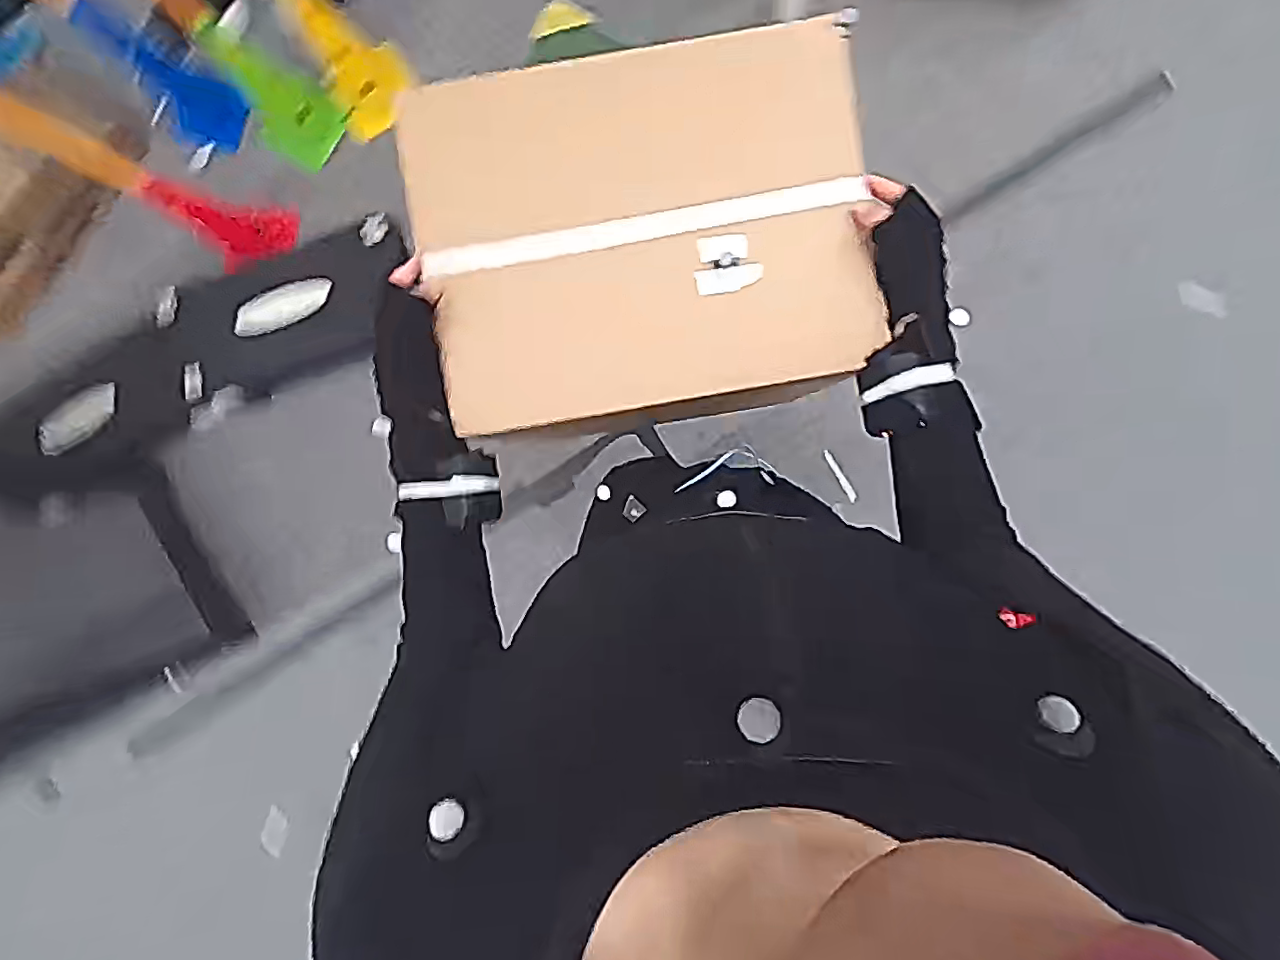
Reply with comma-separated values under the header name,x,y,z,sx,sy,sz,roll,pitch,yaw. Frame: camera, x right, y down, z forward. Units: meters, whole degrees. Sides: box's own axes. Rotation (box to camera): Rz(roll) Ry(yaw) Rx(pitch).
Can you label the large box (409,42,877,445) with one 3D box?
name,x,y,z,sx,sy,sz,roll,pitch,yaw
large box,0.002,-0.227,0.649,0.408,0.320,0.320,-9,93,-1
